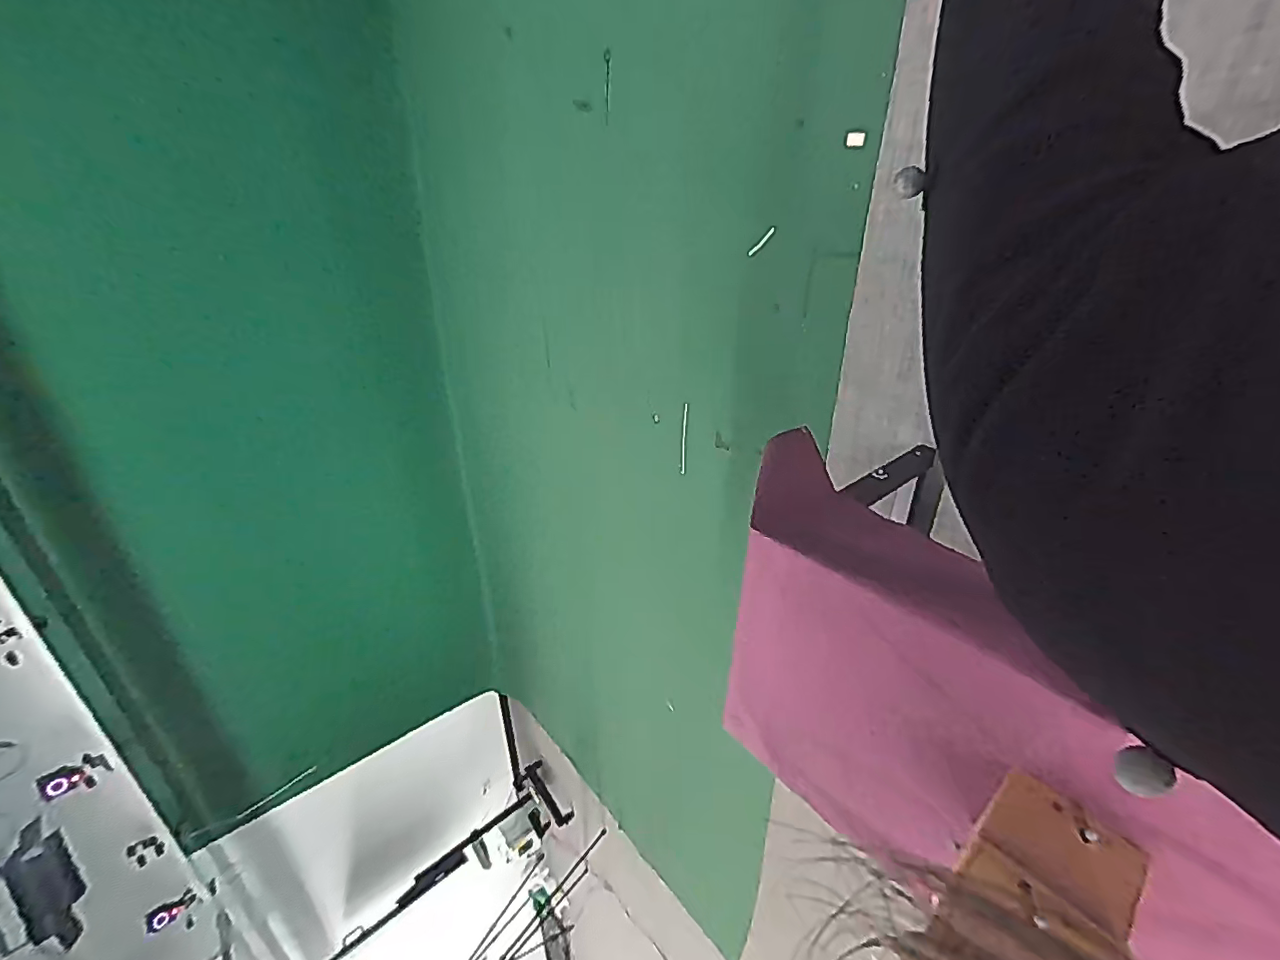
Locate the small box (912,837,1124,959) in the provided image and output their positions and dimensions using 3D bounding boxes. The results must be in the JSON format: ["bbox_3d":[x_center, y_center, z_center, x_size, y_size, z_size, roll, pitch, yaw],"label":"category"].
[{"bbox_3d":[0.426,0.582,0.639,0.168,0.176,0.179,30,129,40],"label":"small box"}]

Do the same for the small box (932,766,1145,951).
[{"bbox_3d":[0.546,0.547,0.745,0.168,0.176,0.179,32,130,39],"label":"small box"}]

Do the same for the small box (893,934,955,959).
[{"bbox_3d":[0.299,0.620,0.542,0.168,0.176,0.179,31,131,40],"label":"small box"}]
